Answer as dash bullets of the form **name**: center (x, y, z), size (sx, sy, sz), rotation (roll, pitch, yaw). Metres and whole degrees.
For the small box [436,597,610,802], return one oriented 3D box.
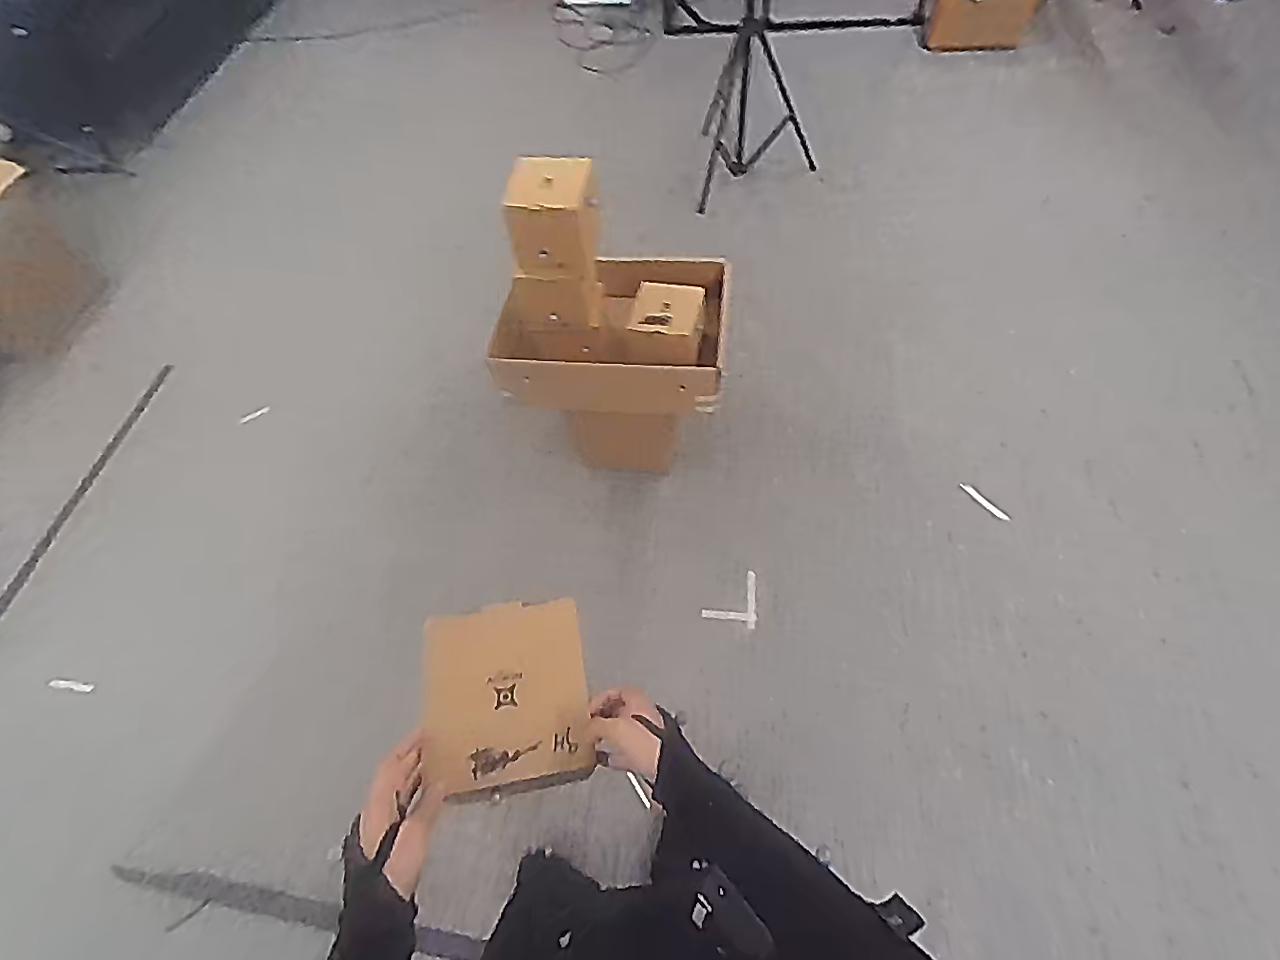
- **small box**: center (-0.132, 0.255, 0.623), size (0.168, 0.176, 0.179), rotation (-5, 58, -11)

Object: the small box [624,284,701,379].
- **small box**: center (0.067, -0.391, 1.438), size (0.168, 0.176, 0.179), rotation (9, 63, 12)

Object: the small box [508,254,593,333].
- **small box**: center (-0.212, -0.487, 1.337), size (0.168, 0.176, 0.179), rotation (1, 61, 5)

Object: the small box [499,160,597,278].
- **small box**: center (-0.194, -0.577, 1.199), size (0.168, 0.176, 0.179), rotation (4, 62, 6)
